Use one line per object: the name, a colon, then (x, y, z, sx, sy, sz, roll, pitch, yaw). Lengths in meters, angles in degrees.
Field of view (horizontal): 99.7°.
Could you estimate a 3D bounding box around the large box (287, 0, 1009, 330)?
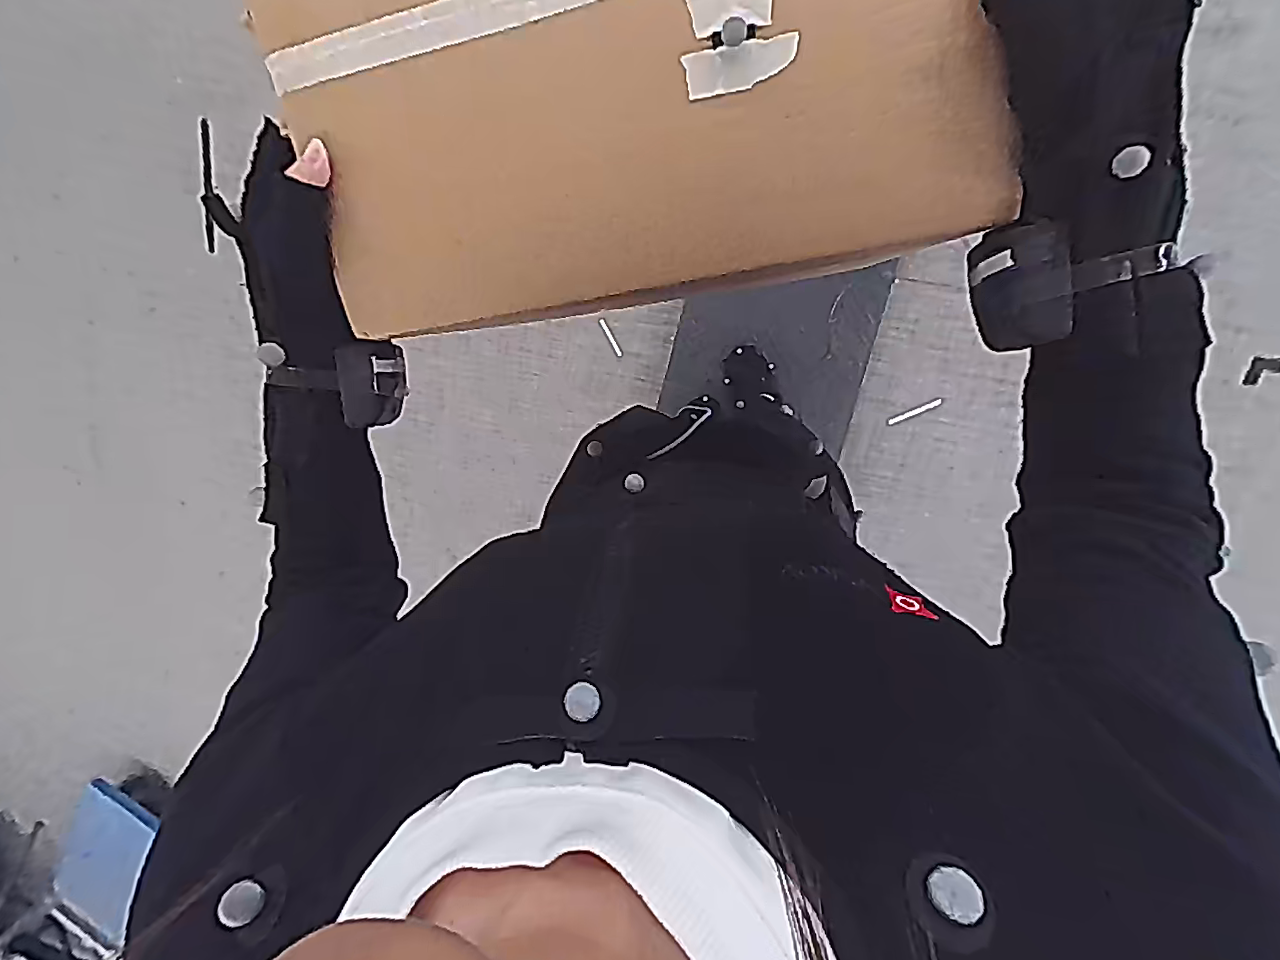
large box: (0.008, -0.316, 0.438, 0.408, 0.320, 0.320, -6, 107, 11)
